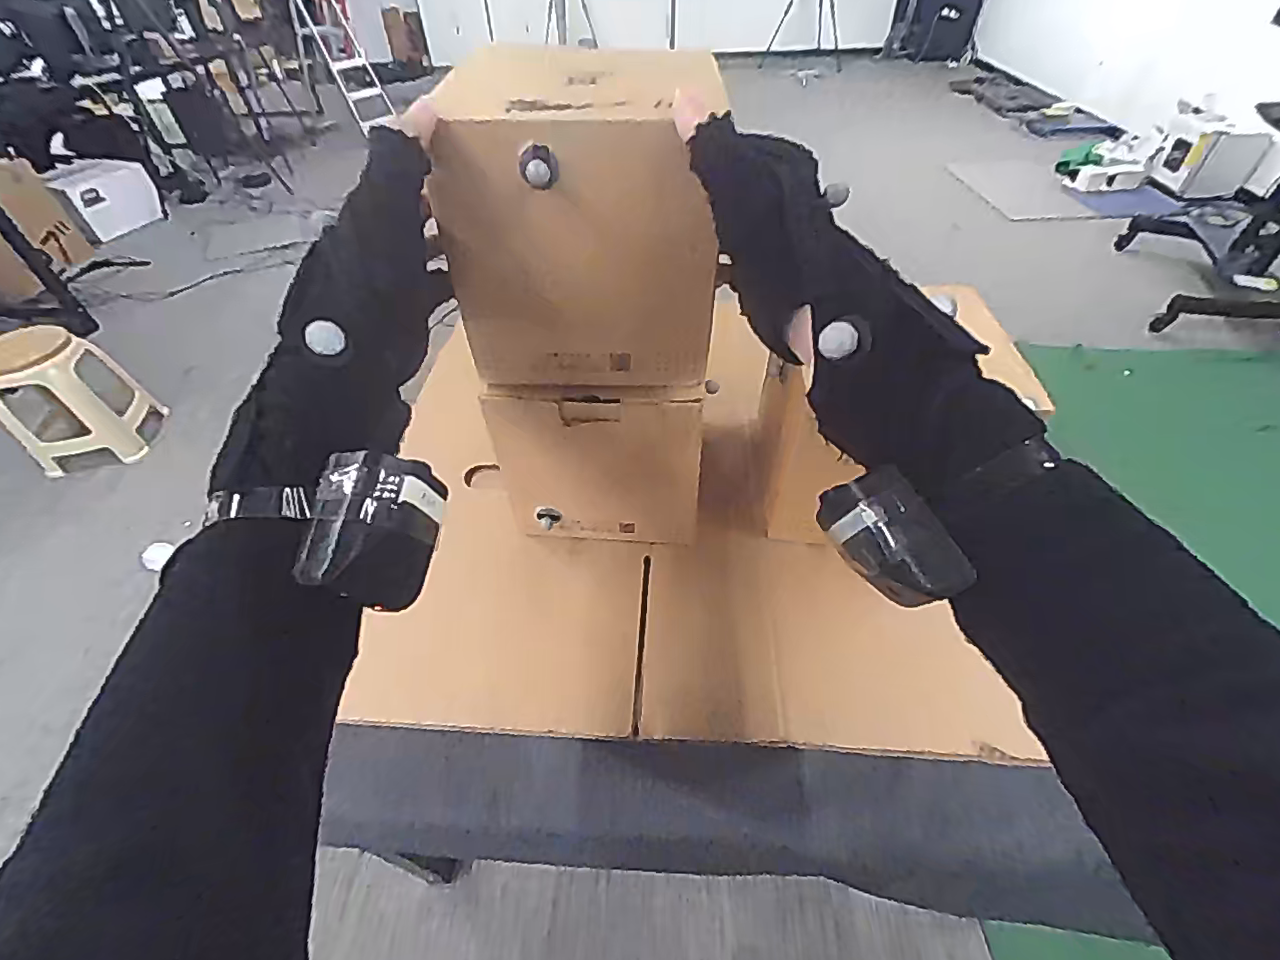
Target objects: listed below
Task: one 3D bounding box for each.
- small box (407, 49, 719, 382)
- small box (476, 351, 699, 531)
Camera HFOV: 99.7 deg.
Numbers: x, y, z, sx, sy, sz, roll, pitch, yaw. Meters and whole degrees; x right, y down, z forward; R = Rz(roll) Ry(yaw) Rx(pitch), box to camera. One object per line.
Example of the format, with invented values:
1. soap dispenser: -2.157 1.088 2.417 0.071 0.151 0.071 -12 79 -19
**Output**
1. small box: -0.037 -0.190 0.391 0.168 0.176 0.179 1 47 2
2. small box: -0.030 -0.070 0.505 0.168 0.176 0.179 3 47 5
